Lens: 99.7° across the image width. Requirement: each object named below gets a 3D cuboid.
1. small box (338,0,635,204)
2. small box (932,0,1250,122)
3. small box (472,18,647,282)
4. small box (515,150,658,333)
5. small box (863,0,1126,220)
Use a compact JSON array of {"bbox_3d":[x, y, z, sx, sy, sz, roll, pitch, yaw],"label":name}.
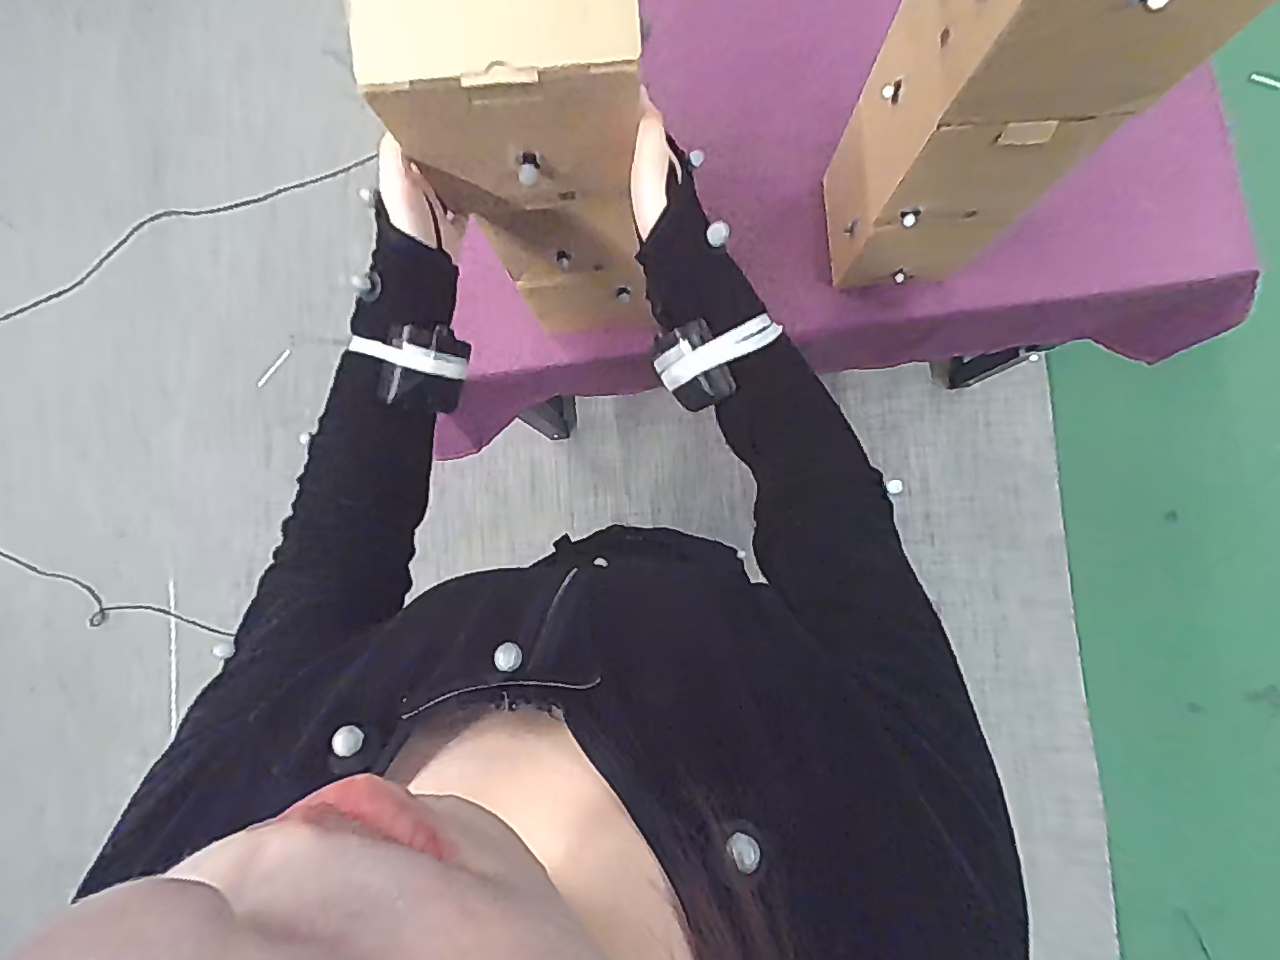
[{"bbox_3d":[-0.091,-0.315,0.383,0.168,0.176,0.179,-4,95,0],"label":"small box"},{"bbox_3d":[0.333,-0.394,0.392,0.179,0.176,0.168,0,87,3],"label":"small box"},{"bbox_3d":[-0.080,-0.337,0.581,0.168,0.176,0.179,-4,86,3],"label":"small box"},{"bbox_3d":[-0.066,-0.314,0.742,0.179,0.176,0.168,-4,84,4],"label":"small box"},{"bbox_3d":[0.342,-0.388,0.554,0.168,0.176,0.179,-1,85,4],"label":"small box"}]
